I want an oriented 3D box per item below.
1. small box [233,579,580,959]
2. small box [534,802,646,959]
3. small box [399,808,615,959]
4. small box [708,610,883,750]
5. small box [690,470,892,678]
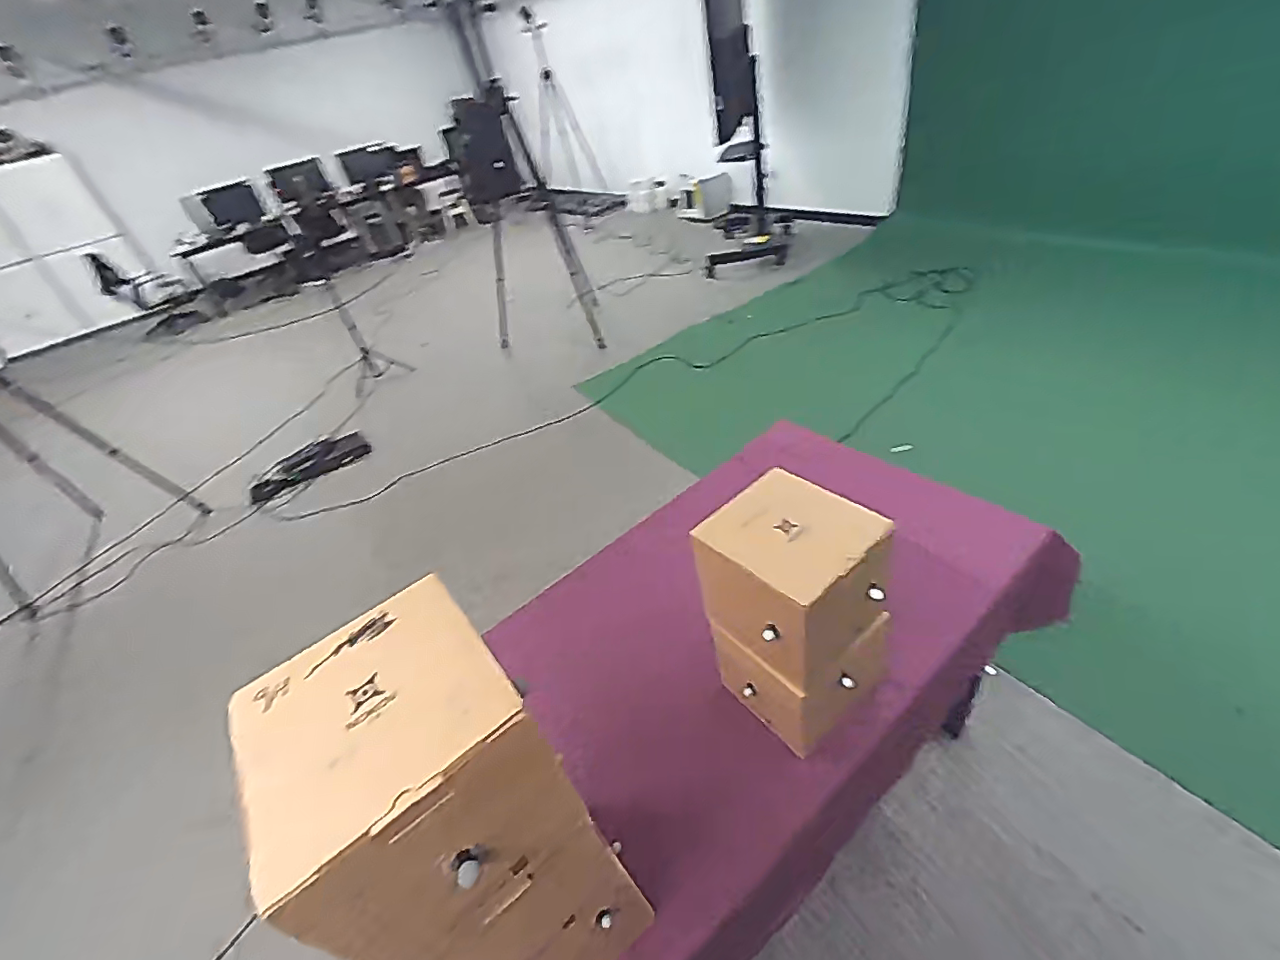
[{"bbox_3d":[-0.168,0.219,0.418,0.168,0.176,0.179,-33,42,-24],"label":"small box"},{"bbox_3d":[-0.115,0.473,0.620,0.179,0.176,0.168,-33,42,-24],"label":"small box"},{"bbox_3d":[-0.146,0.346,0.521,0.168,0.176,0.179,-33,40,-24],"label":"small box"},{"bbox_3d":[0.226,0.250,0.787,0.179,0.176,0.168,-32,42,-22],"label":"small box"},{"bbox_3d":[0.191,0.122,0.691,0.168,0.176,0.179,-33,41,-24],"label":"small box"}]
